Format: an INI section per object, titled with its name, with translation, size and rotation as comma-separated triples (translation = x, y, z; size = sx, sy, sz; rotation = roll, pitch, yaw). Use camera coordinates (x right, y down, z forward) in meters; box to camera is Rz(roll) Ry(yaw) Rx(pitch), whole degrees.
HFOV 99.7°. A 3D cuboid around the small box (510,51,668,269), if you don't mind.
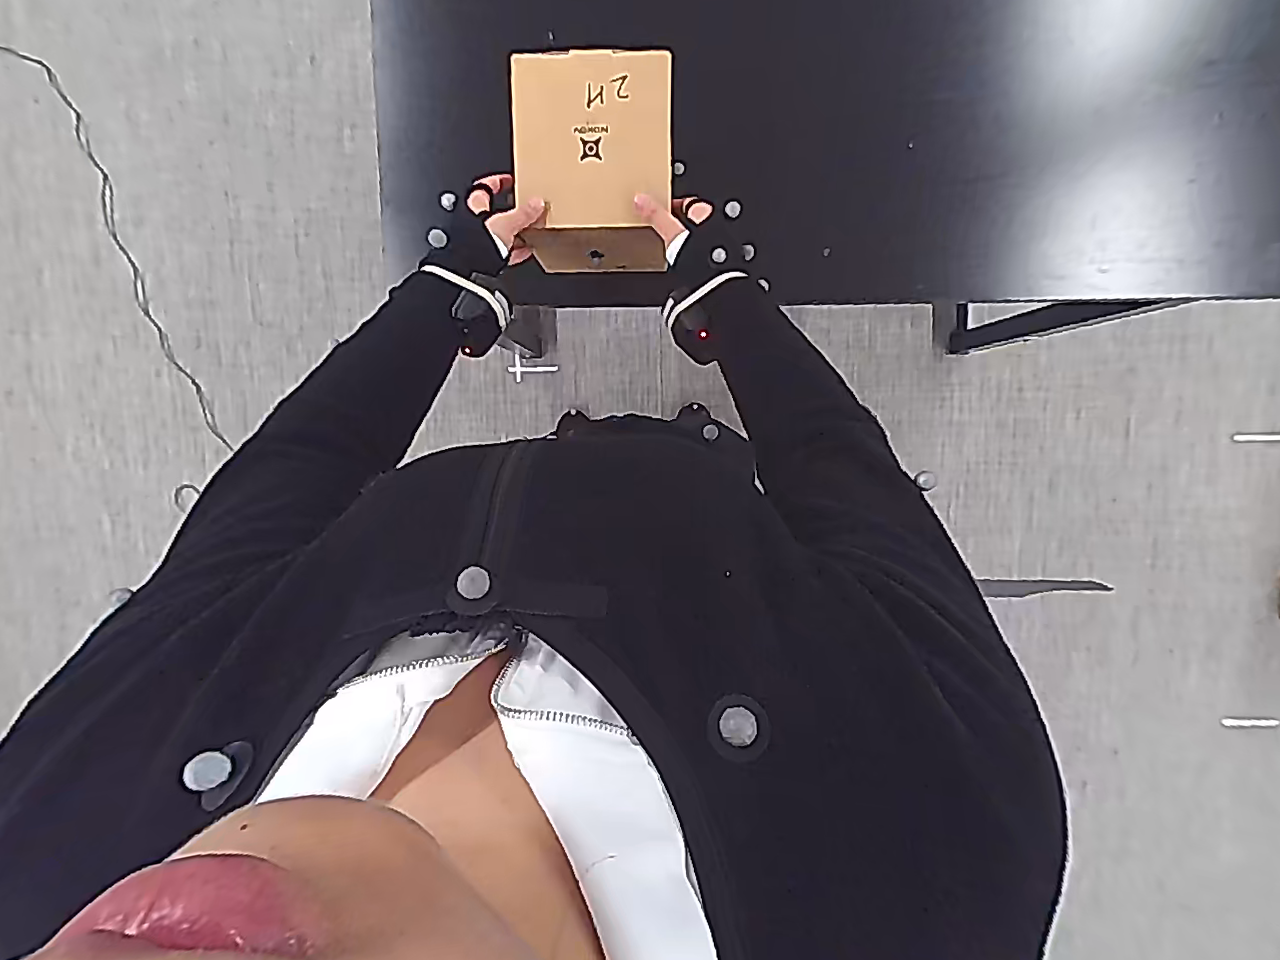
[small box]
translation = -0.050, -0.359, 0.642
size = 0.168, 0.176, 0.179
rotation = 0, 95, 2
